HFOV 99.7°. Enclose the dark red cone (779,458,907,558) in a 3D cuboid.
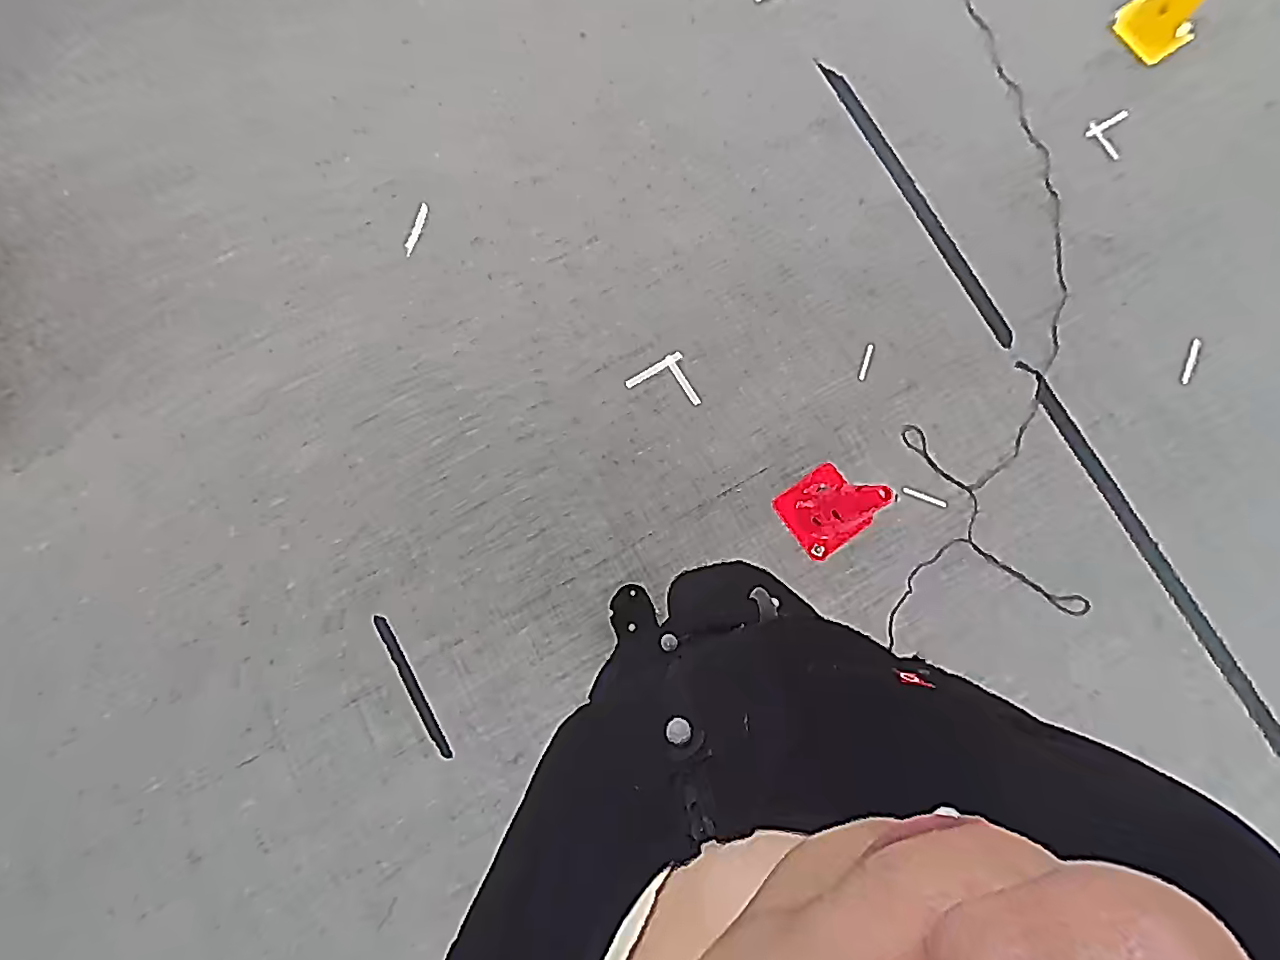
[{"bbox_3d":[0.482,0.042,1.210,0.201,0.394,0.202,-36,83,-7],"label":"dark red cone"}]
